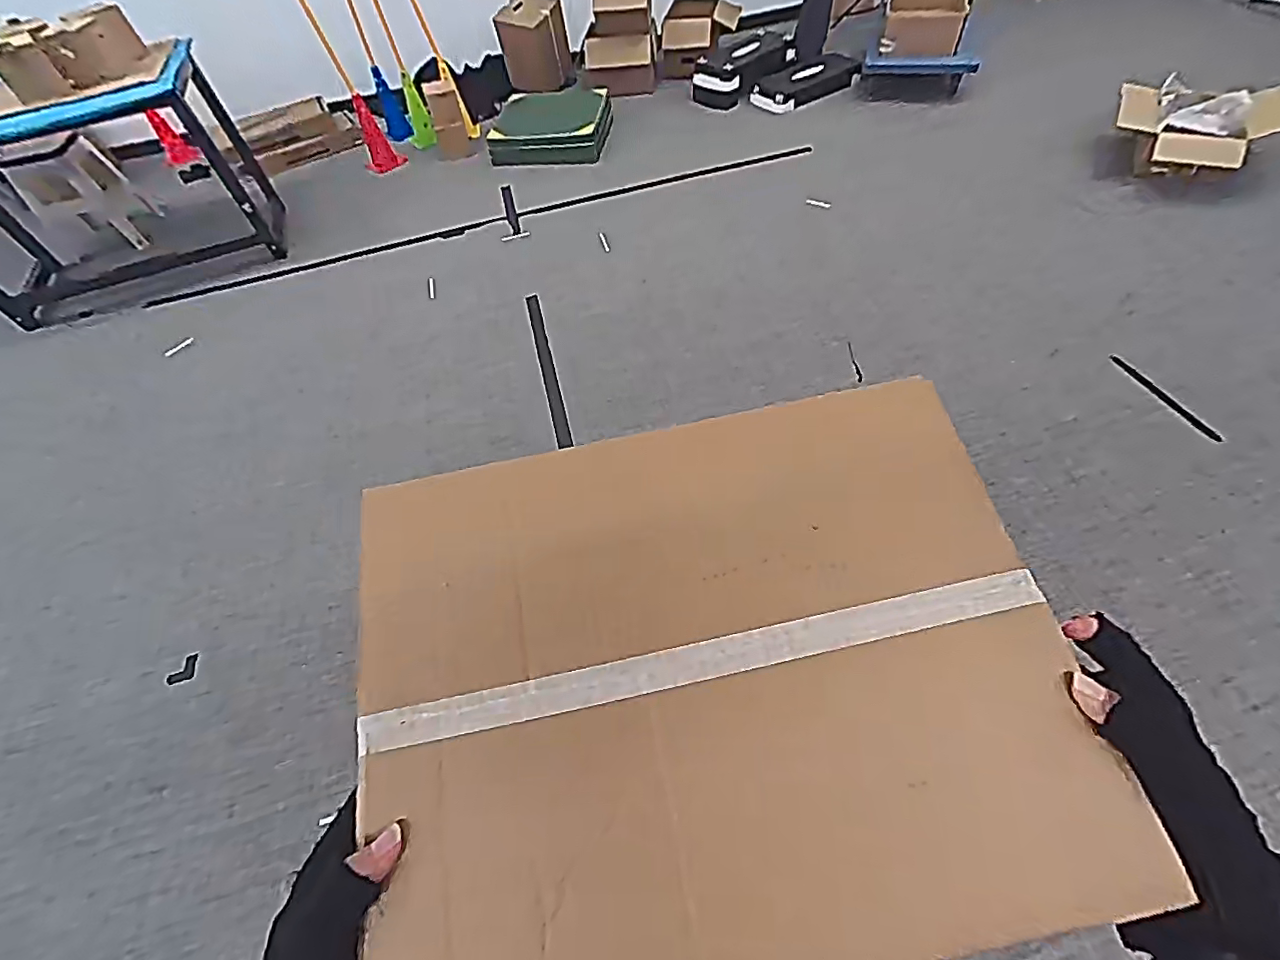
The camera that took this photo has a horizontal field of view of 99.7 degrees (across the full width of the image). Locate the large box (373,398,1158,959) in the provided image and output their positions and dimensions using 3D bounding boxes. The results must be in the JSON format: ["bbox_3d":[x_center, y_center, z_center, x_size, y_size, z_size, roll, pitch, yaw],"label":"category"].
[{"bbox_3d":[0.049,0.177,0.459,0.408,0.320,0.320,-12,65,-1],"label":"large box"}]
